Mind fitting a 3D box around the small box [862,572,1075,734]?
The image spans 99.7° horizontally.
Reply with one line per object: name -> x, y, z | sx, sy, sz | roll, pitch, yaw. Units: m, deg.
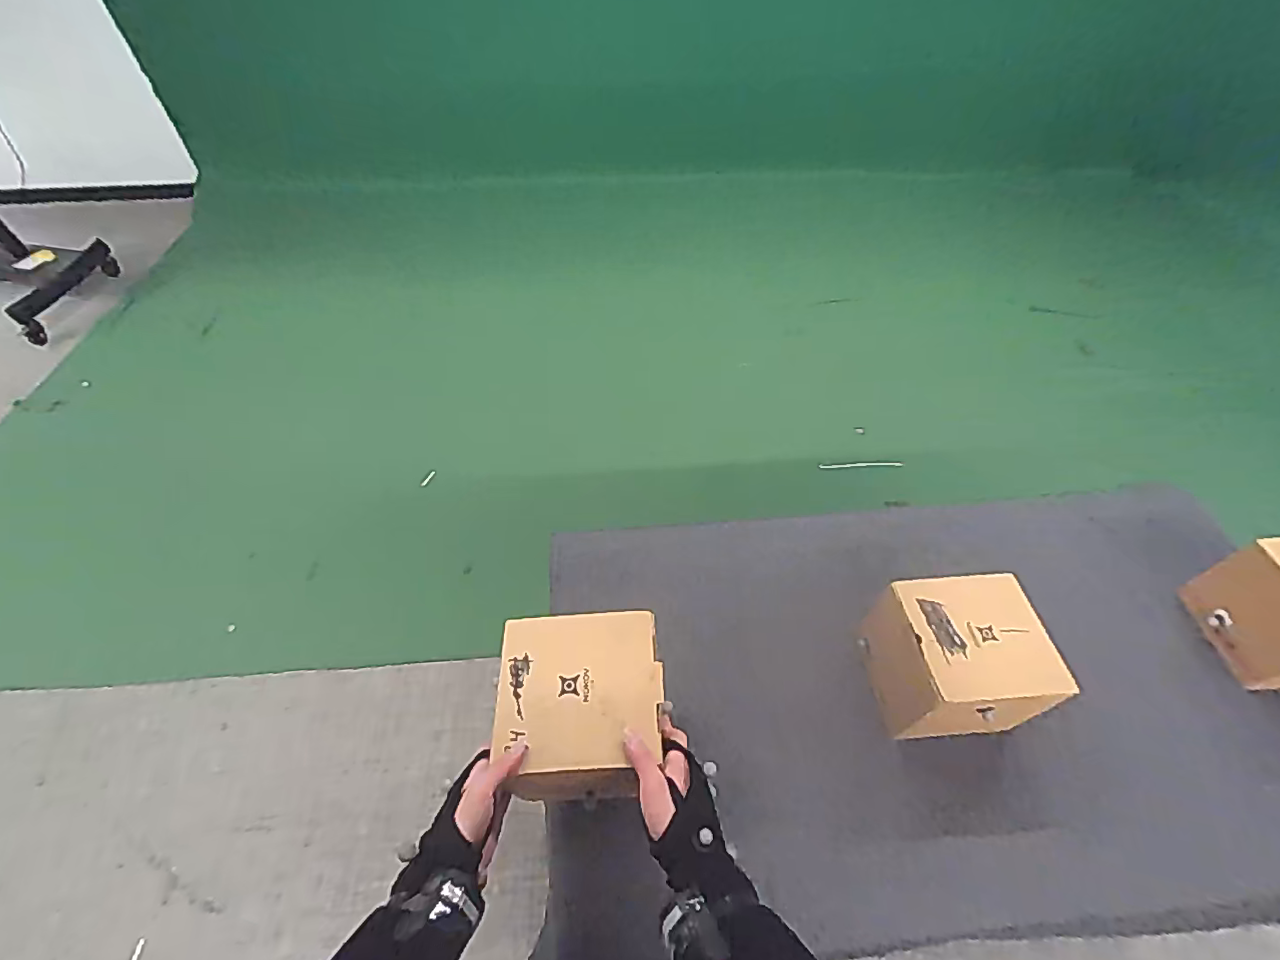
small box -> 0.432, 0.245, 0.755 | 0.179, 0.176, 0.168 | -3, 52, -4

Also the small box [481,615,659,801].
small box -> -0.068, 0.271, 0.638 | 0.179, 0.176, 0.168 | -3, 51, 1

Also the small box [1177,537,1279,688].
small box -> 0.979, 0.195, 0.795 | 0.179, 0.176, 0.168 | -3, 51, -1
